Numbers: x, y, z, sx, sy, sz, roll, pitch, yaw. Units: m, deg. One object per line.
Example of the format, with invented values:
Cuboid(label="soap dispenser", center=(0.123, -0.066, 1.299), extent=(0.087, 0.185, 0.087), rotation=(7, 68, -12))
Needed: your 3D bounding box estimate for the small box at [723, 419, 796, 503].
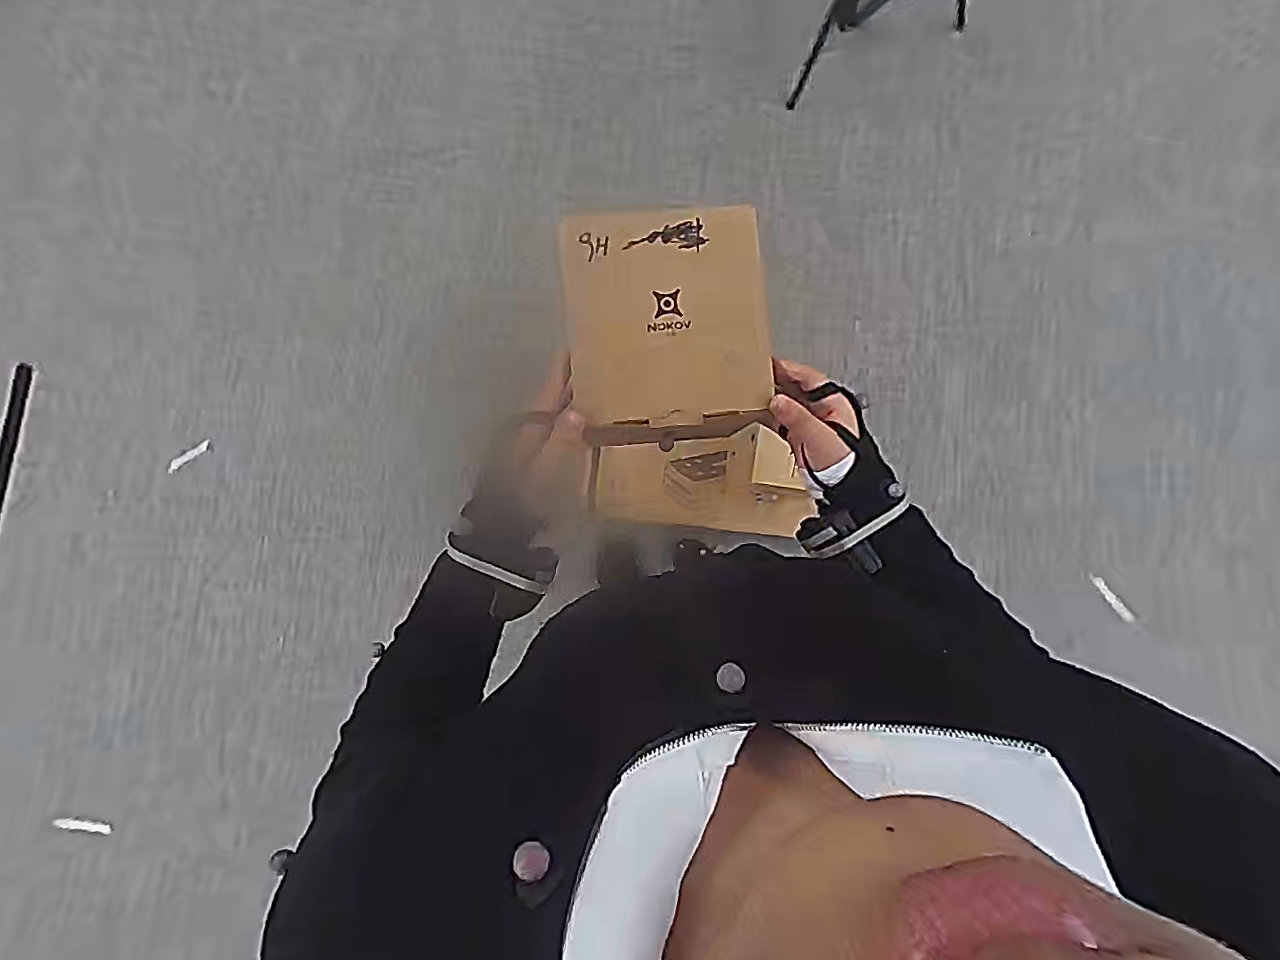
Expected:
Cuboid(label="small box", center=(0.304, -0.042, 1.341), extent=(0.168, 0.176, 0.179), rotation=(5, 84, 1))

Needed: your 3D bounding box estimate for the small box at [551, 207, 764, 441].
Cuboid(label="small box", center=(0.012, -0.132, 0.523), extent=(0.168, 0.176, 0.179), rotation=(-6, 89, -3))

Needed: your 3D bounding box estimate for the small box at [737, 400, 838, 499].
Cuboid(label="small box", center=(0.313, -0.060, 1.177), extent=(0.168, 0.176, 0.179), rotation=(9, 85, 1))
